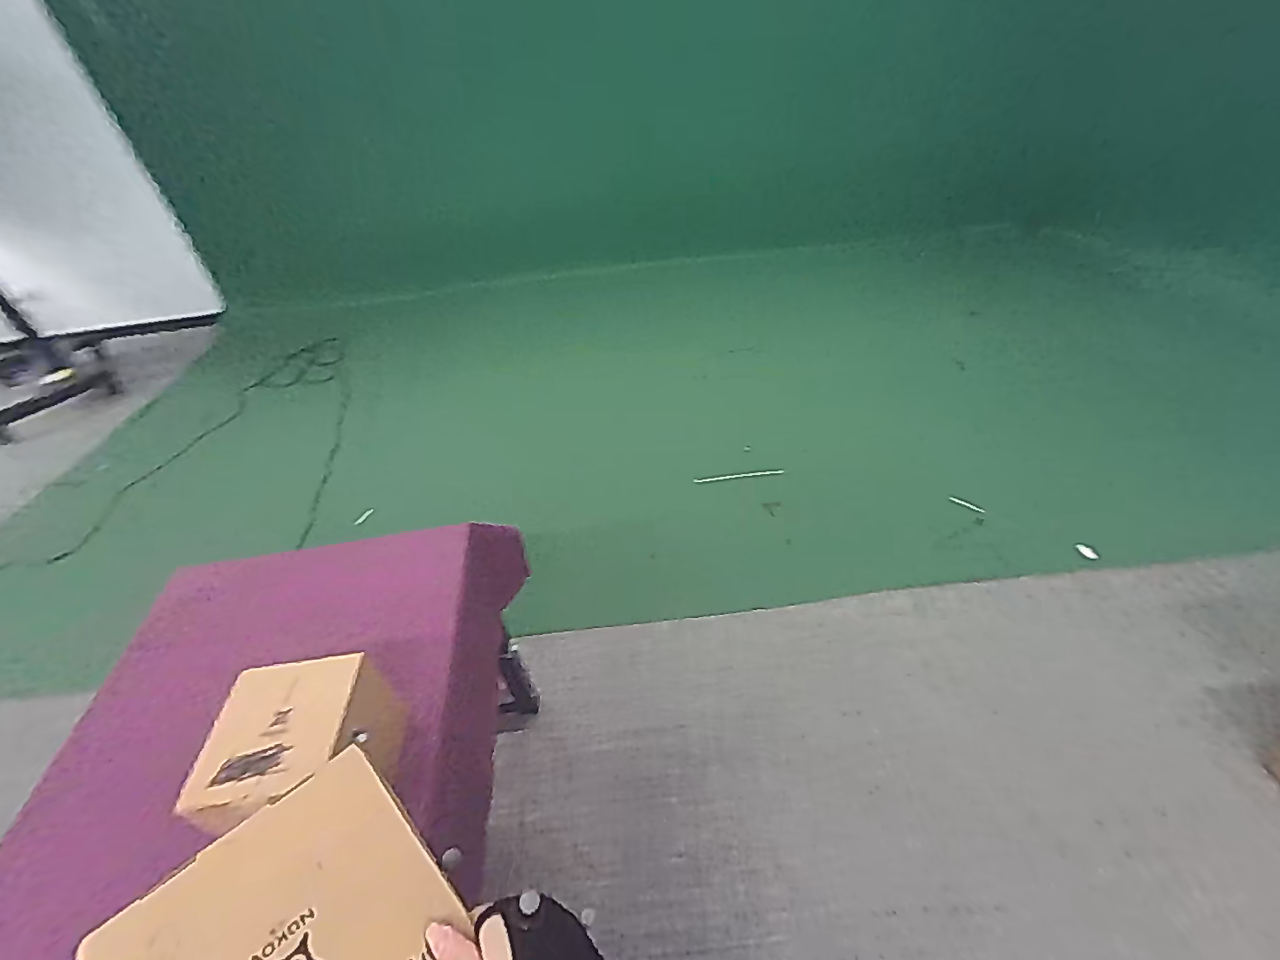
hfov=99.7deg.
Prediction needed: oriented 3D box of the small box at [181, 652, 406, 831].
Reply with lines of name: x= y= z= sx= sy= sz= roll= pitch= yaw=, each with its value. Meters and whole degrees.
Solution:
small box: x=-0.437 y=0.361 z=0.723 sx=0.168 sy=0.176 sz=0.179 roll=-8 pitch=41 yaw=-1

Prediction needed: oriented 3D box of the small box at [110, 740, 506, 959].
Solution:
small box: x=-0.213 y=0.335 z=0.386 sx=0.168 sy=0.176 sz=0.179 roll=-32 pitch=59 yaw=-33
